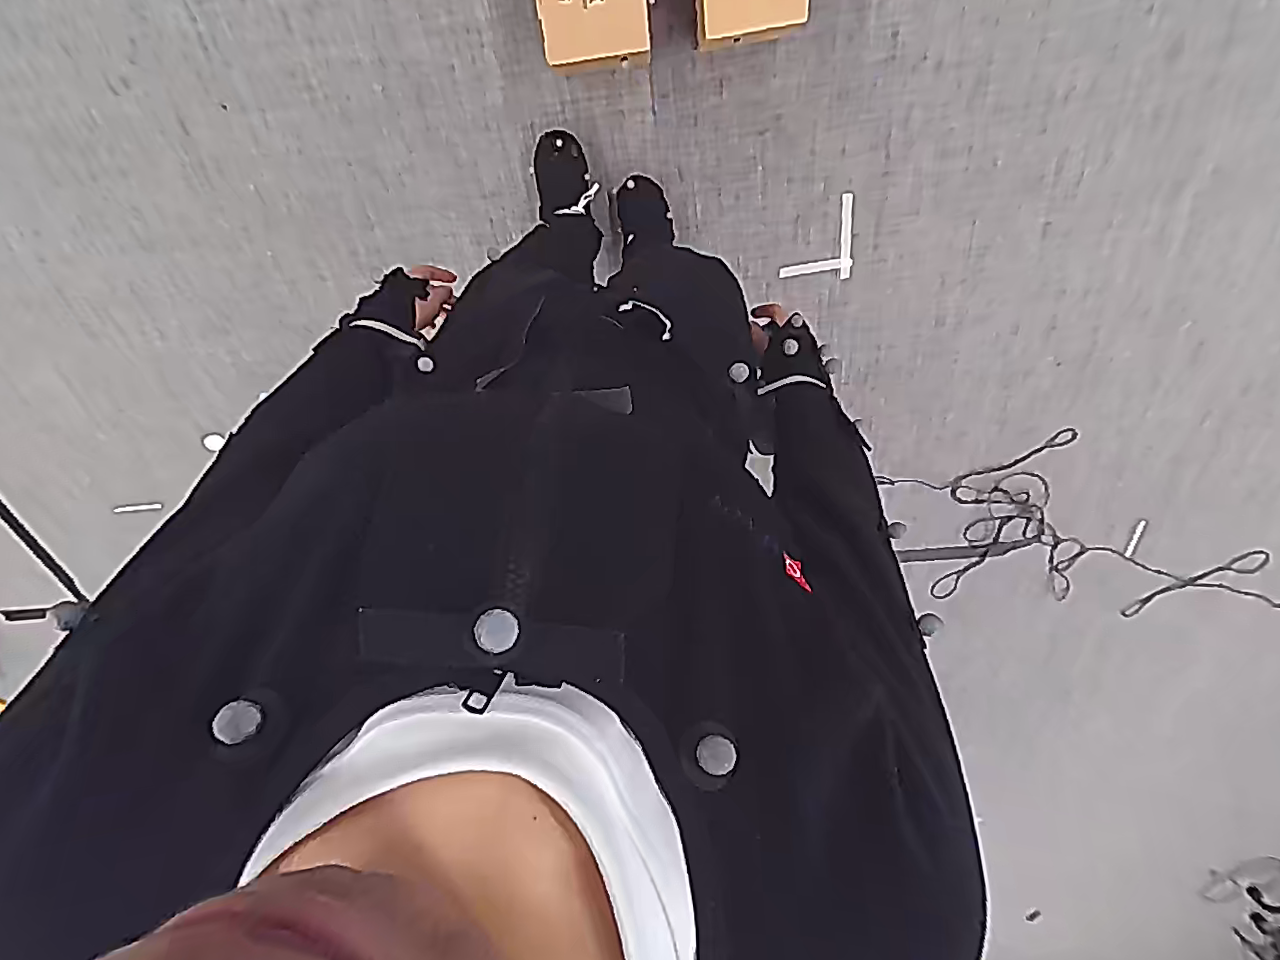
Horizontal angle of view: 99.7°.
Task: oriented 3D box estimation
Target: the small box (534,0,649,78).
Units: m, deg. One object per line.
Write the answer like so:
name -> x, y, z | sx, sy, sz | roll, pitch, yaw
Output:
small box -> -0.080, -0.797, 0.914 | 0.179, 0.176, 0.168 | -5, 122, 4
